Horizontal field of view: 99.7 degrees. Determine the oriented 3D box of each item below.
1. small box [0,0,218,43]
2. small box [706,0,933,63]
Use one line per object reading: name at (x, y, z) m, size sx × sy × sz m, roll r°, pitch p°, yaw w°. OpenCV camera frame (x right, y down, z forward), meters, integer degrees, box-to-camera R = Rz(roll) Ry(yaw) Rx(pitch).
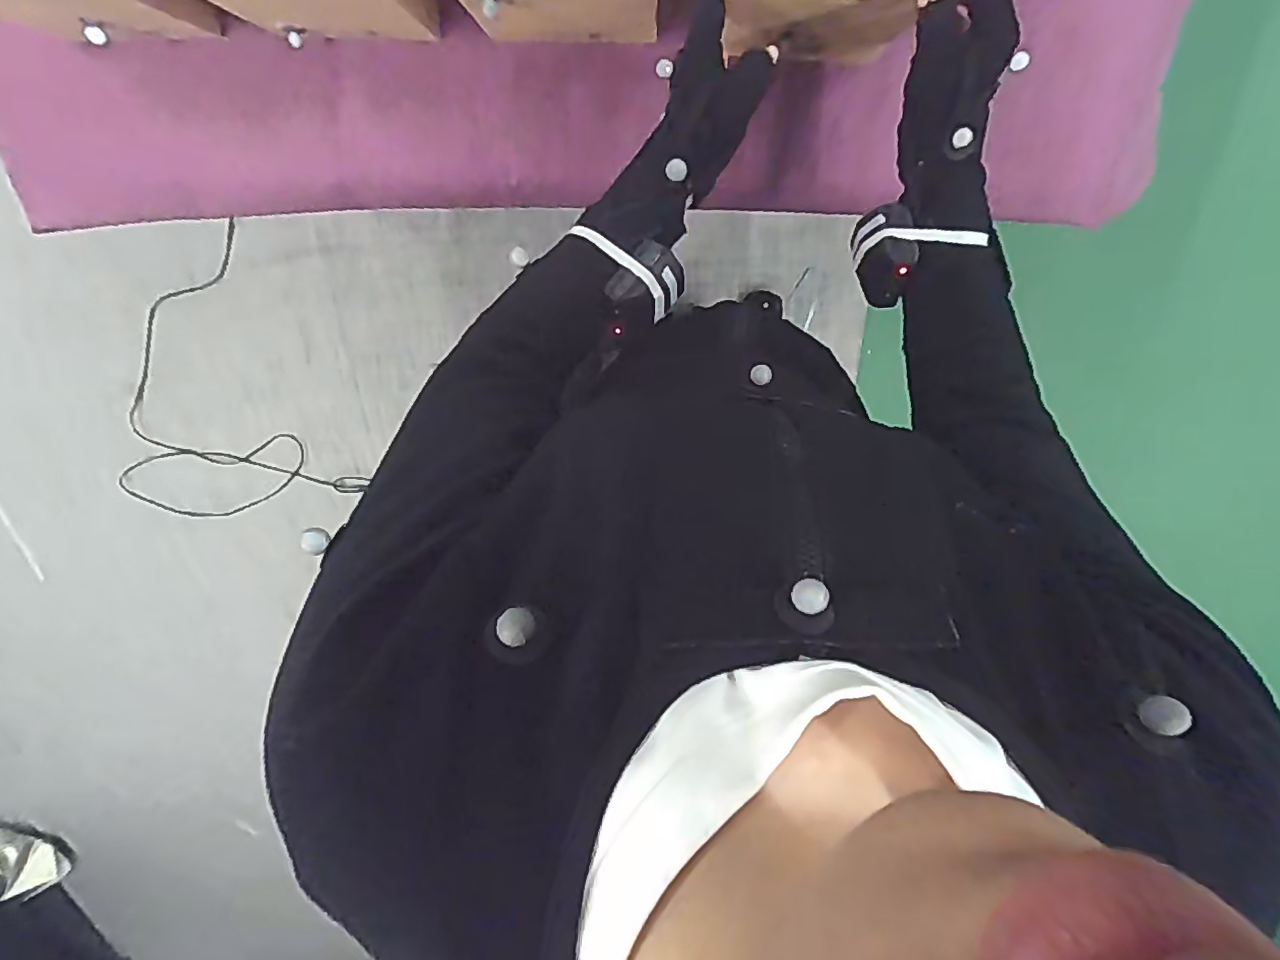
small box at (-0.501, -0.490, 0.438) m, size 0.168 × 0.176 × 0.179 m, roll 0°, pitch 115°, yaw 1°
small box at (0.148, -0.475, 0.438) m, size 0.168 × 0.176 × 0.179 m, roll 3°, pitch 114°, yaw 0°
